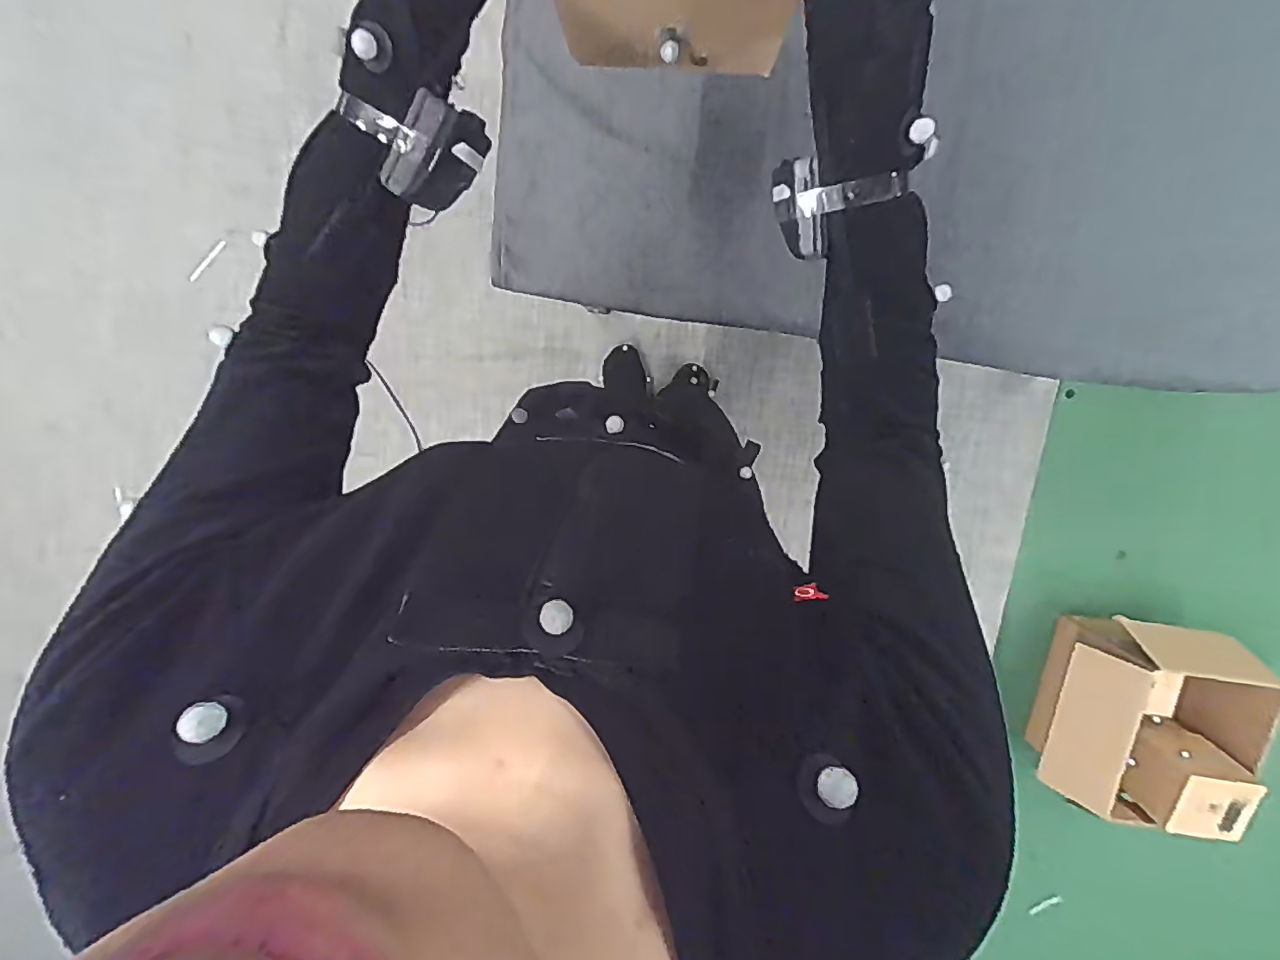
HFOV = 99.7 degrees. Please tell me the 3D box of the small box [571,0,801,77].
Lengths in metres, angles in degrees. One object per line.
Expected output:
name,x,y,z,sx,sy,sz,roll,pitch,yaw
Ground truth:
small box,0.033,-0.410,0.356,0.168,0.176,0.179,4,104,2
